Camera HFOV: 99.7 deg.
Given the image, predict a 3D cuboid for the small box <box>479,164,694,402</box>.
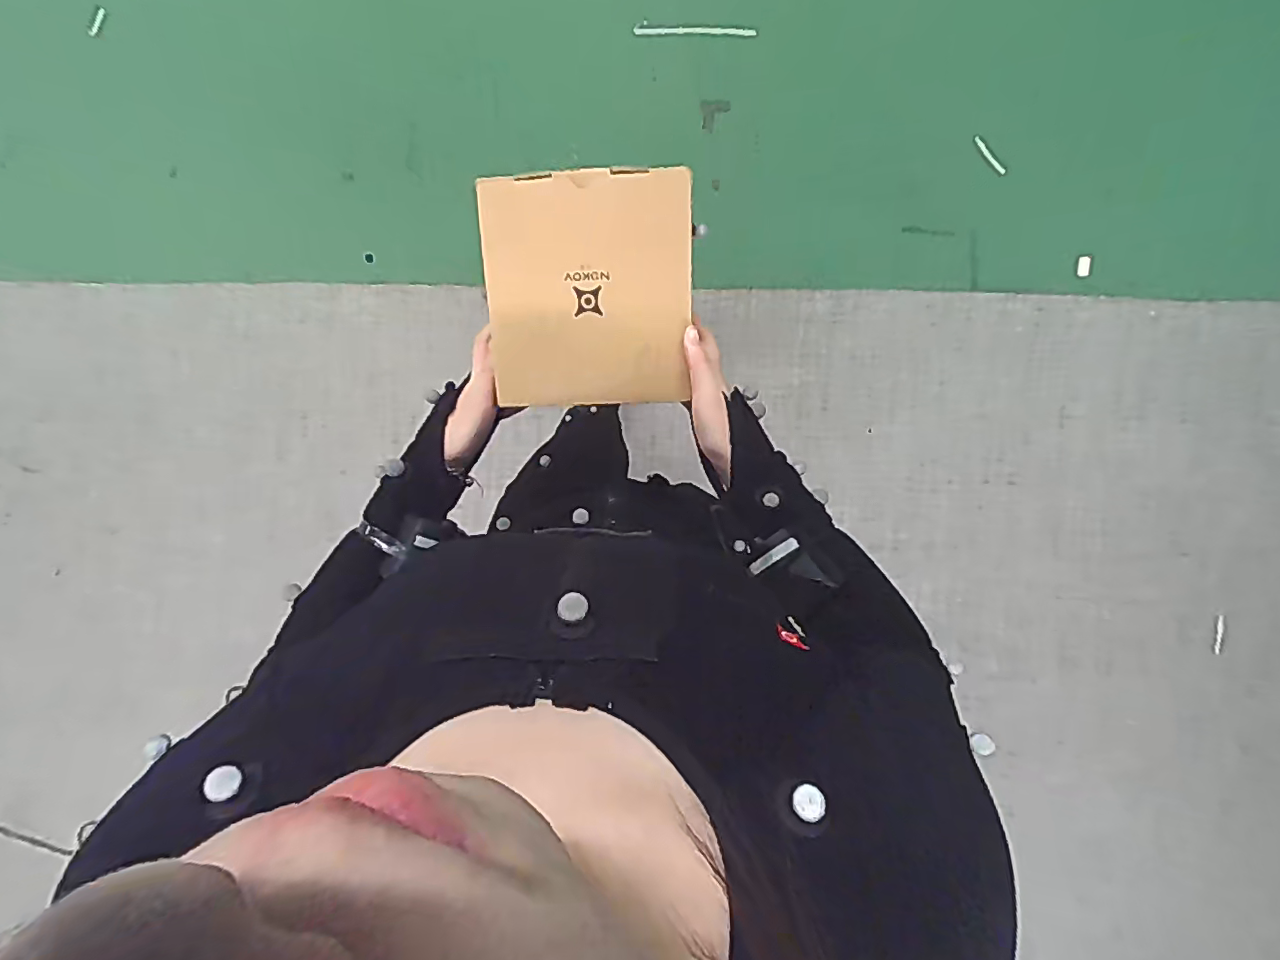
[{"bbox_3d":[-0.034,-0.172,0.503,0.168,0.176,0.179,-1,106,4],"label":"small box"}]
